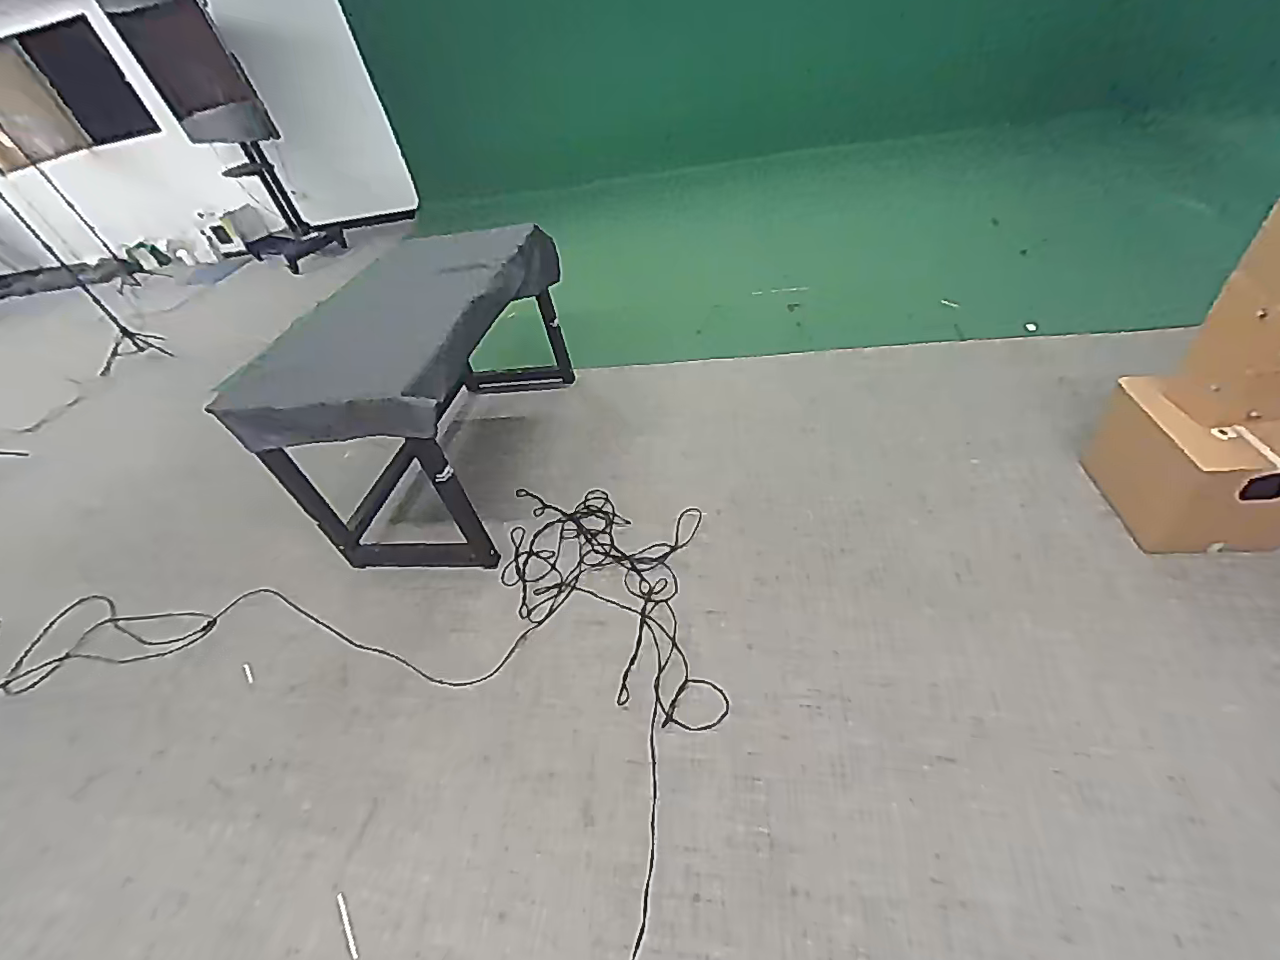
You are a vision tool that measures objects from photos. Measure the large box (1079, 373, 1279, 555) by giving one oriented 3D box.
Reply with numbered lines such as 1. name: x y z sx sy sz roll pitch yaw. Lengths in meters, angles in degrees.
1. large box: 1.530 -0.046 1.492 0.320 0.320 0.408 -4 44 12

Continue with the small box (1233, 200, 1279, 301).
1. small box: 1.441 -0.485 1.137 0.168 0.176 0.179 -3 43 9
